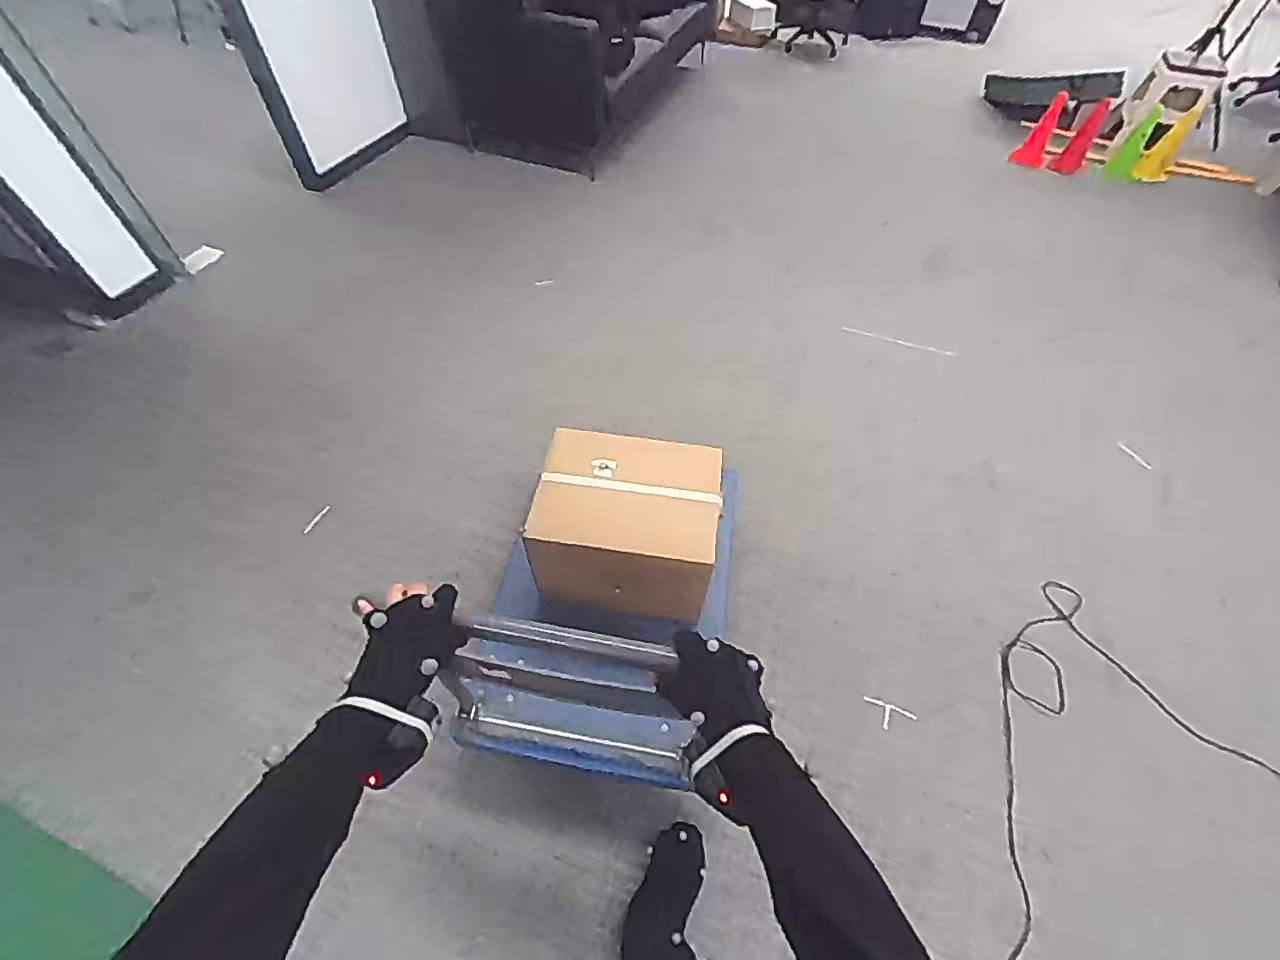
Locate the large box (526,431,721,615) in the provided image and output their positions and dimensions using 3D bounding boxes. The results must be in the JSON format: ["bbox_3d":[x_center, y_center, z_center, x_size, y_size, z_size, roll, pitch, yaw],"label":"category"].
[{"bbox_3d":[-0.024,0.112,1.327,0.408,0.320,0.320,7,54,4],"label":"large box"}]
